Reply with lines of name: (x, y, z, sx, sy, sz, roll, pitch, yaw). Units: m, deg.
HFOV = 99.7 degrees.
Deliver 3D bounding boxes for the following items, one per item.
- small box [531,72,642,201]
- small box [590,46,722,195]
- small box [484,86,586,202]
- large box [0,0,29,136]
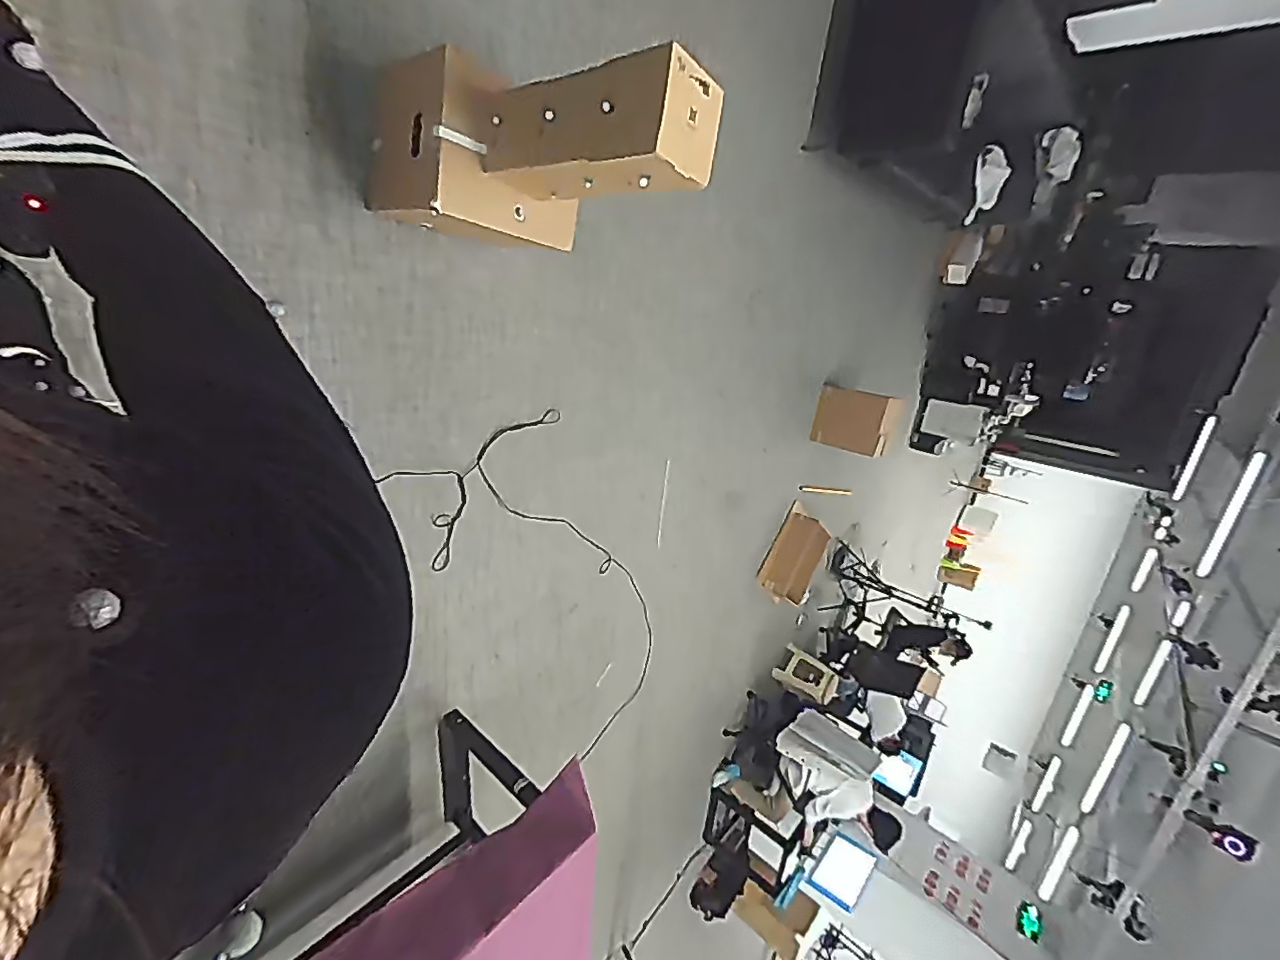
small box: (-0.097, -0.695, 1.119, 0.179, 0.176, 0.168, -1, 104, -50)
small box: (0.026, -0.657, 1.017, 0.168, 0.176, 0.179, -3, 107, -51)
small box: (-0.222, -0.741, 1.216, 0.179, 0.176, 0.168, -3, 106, -50)
large box: (-1.023, -0.693, 0.648, 0.320, 0.320, 0.408, -17, 118, -47)
